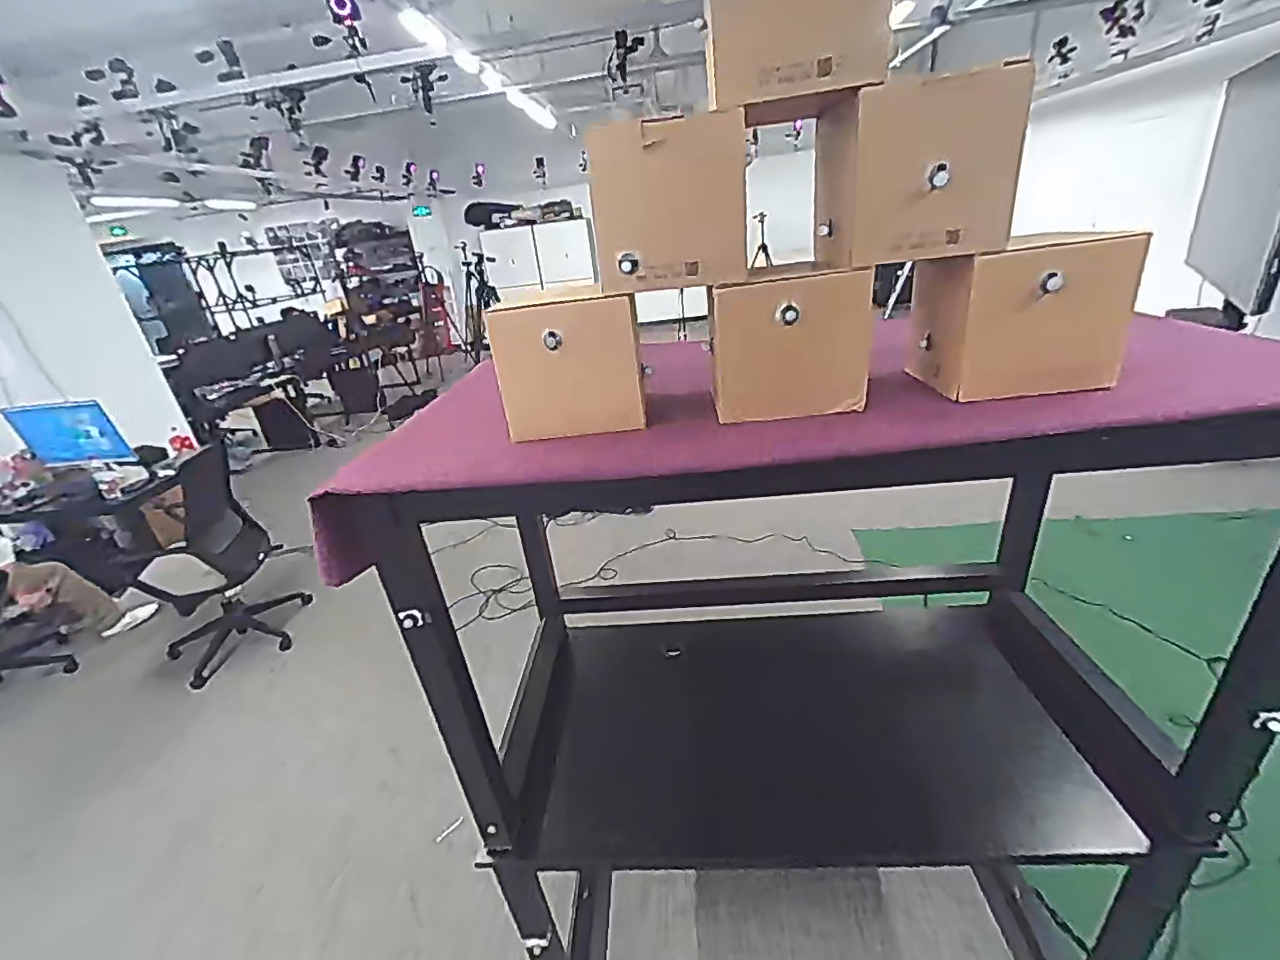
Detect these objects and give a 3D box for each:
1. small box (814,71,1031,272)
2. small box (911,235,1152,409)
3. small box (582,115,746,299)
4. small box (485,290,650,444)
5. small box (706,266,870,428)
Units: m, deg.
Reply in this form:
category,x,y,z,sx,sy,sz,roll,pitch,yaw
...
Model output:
category,x,y,z,sx,sy,sz,roll,pitch,yaw
small box,0.304,-0.337,0.623,0.168,0.176,0.179,-5,25,6
small box,0.457,-0.197,0.667,0.179,0.176,0.168,-6,24,7
small box,0.038,-0.316,0.653,0.168,0.176,0.179,-3,25,8
small box,-0.084,-0.155,0.732,0.179,0.176,0.168,-6,26,4
small box,0.181,-0.172,0.695,0.179,0.176,0.168,-4,25,6
